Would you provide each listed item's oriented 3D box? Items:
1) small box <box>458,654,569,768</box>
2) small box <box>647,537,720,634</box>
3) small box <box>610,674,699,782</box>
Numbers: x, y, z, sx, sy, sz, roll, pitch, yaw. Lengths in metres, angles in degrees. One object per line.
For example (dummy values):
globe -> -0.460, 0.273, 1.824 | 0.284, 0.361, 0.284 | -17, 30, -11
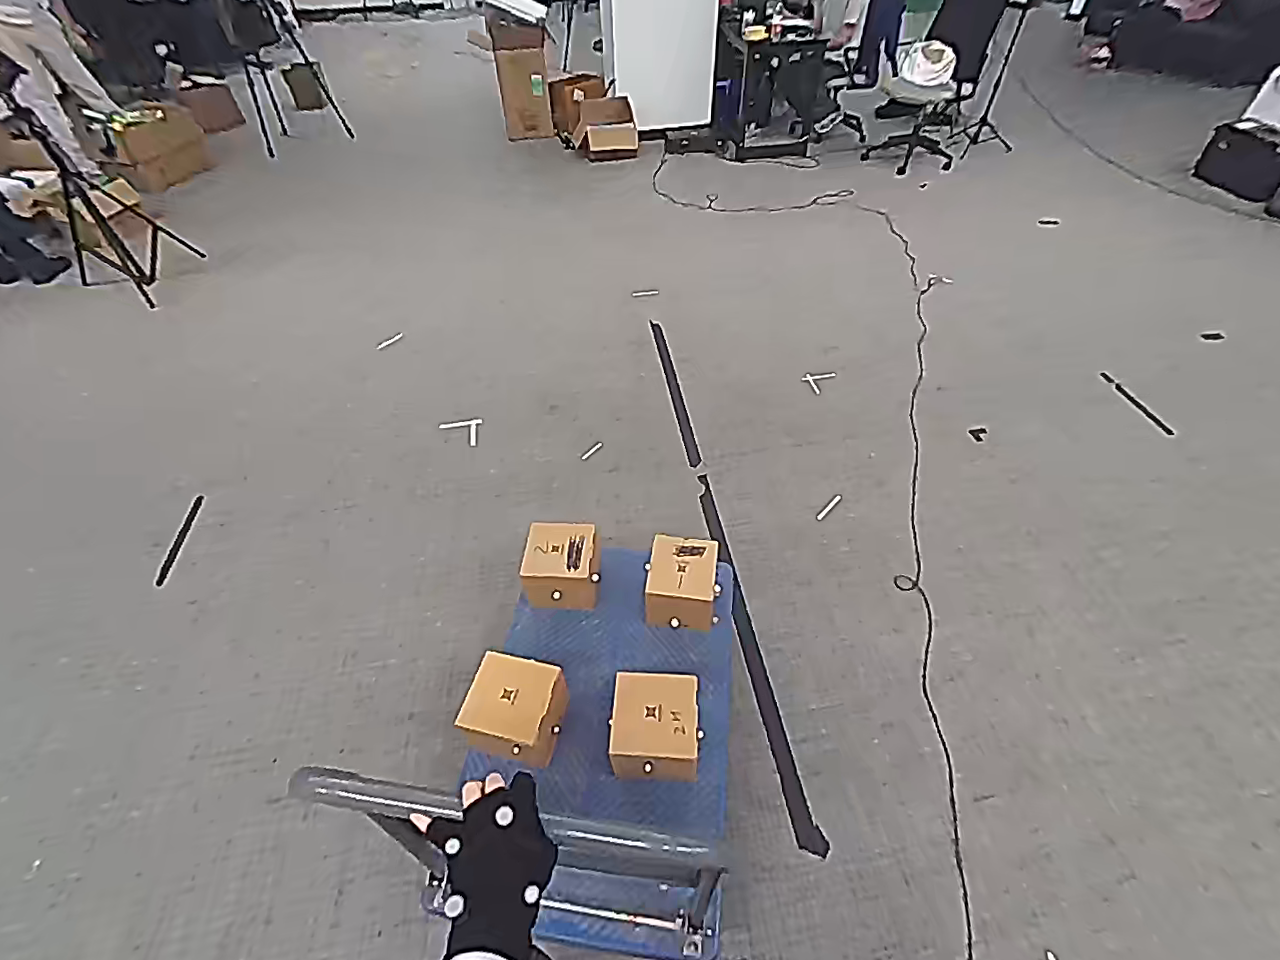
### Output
small box -> -0.268, 0.513, 1.194 | 0.179, 0.176, 0.168 | 9, 48, 9
small box -> 0.112, 0.272, 1.397 | 0.168, 0.176, 0.179 | 5, 49, 8
small box -> 0.038, 0.534, 1.159 | 0.179, 0.176, 0.168 | 2, 48, 4
